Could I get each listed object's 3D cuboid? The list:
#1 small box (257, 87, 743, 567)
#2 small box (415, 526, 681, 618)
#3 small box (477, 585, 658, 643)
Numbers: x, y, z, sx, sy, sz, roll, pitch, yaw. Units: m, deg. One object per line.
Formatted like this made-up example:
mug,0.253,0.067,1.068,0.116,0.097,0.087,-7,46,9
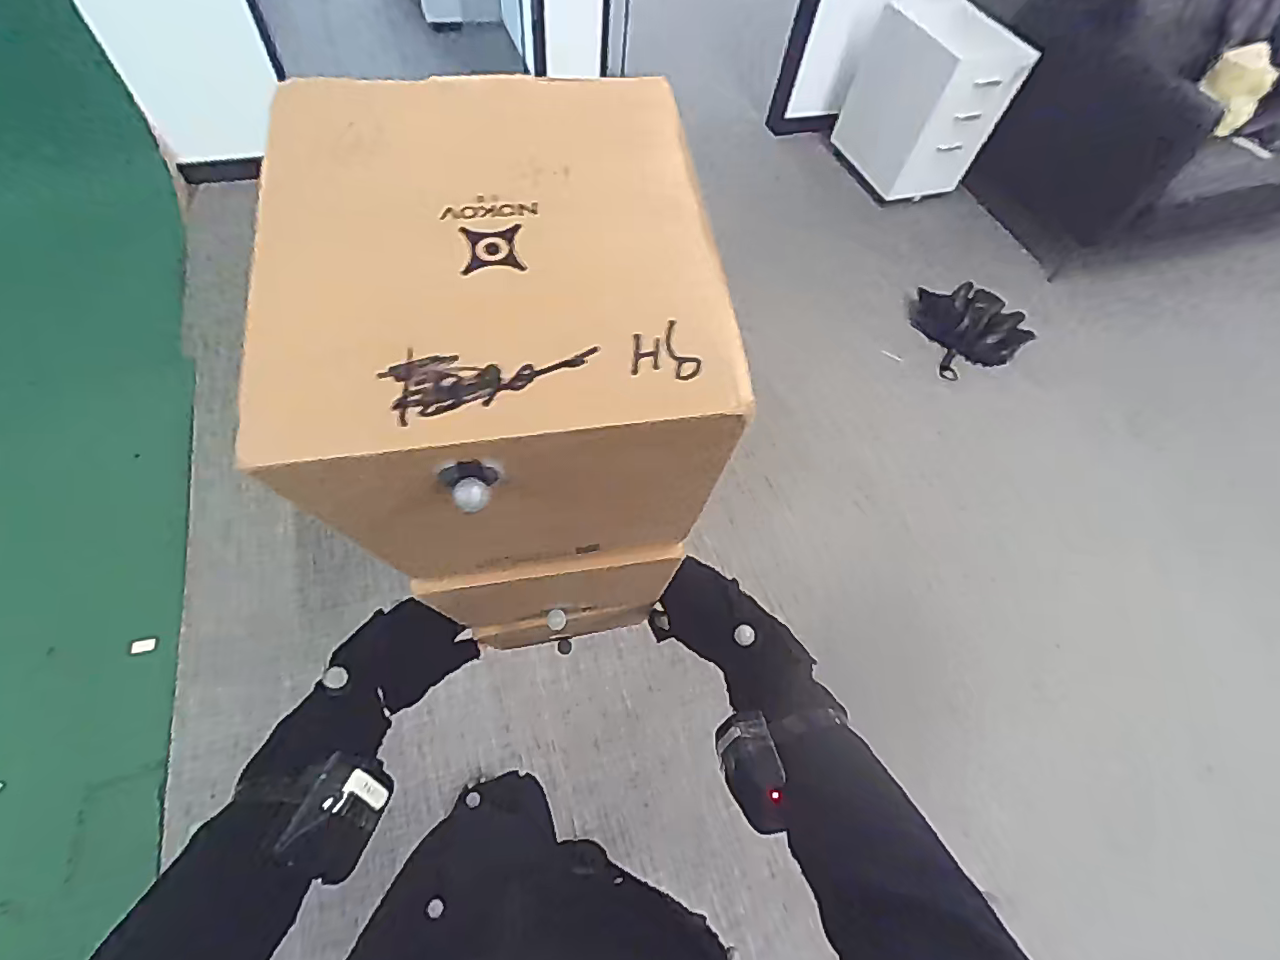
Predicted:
small box,-0.061,-0.067,0.288,0.168,0.176,0.179,-7,68,-6
small box,-0.072,0.003,0.436,0.168,0.176,0.179,-7,69,-7
small box,-0.085,0.068,0.587,0.168,0.176,0.179,-11,70,-8
